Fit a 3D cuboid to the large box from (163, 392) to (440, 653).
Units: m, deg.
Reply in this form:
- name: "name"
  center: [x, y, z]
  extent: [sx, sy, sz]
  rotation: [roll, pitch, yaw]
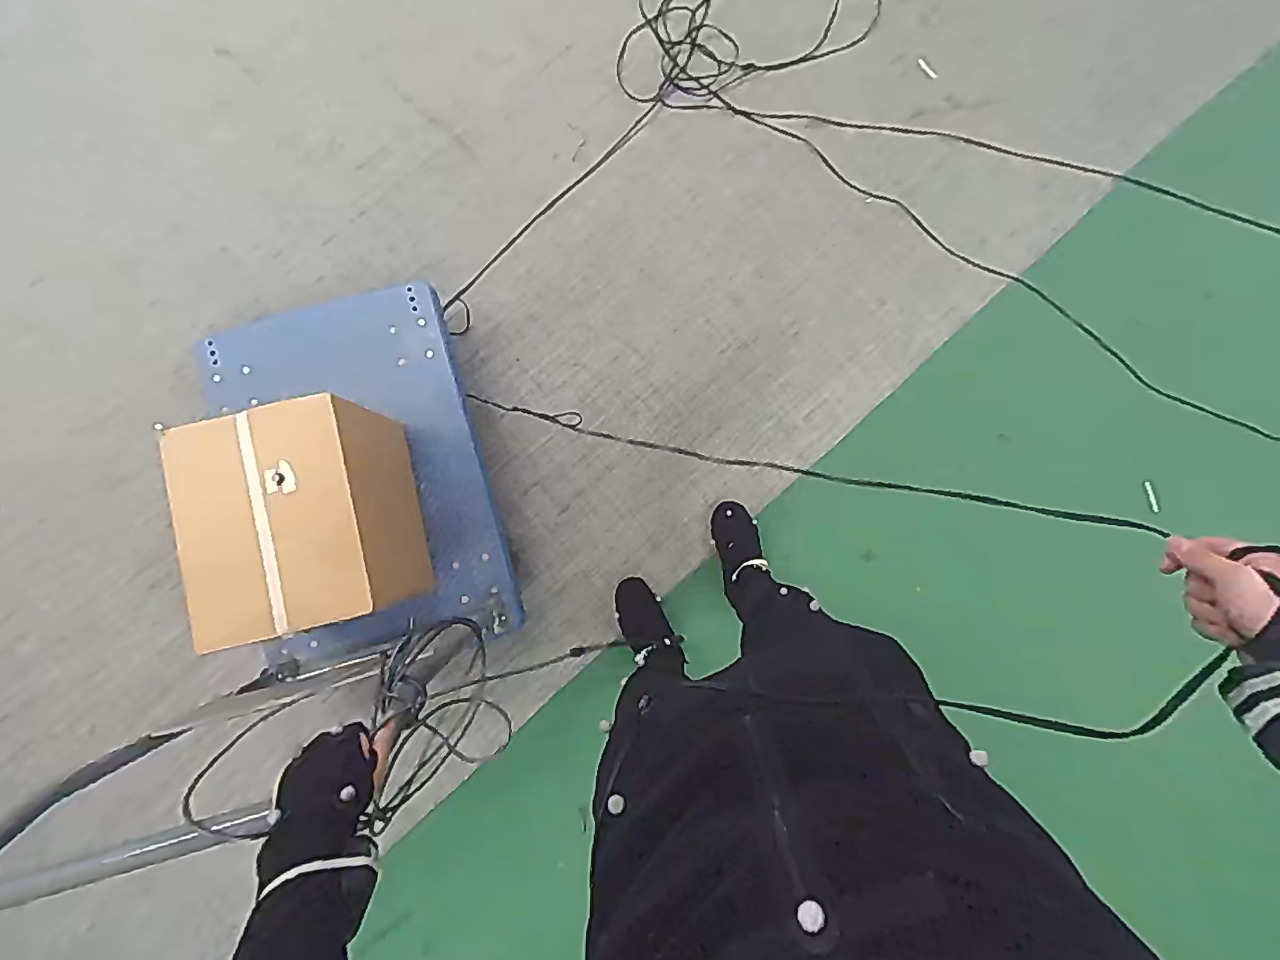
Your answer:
- name: "large box"
  center: [-0.644, 0.083, 1.087]
  extent: [0.320, 0.320, 0.408]
  rotation: [-14, 85, -2]
